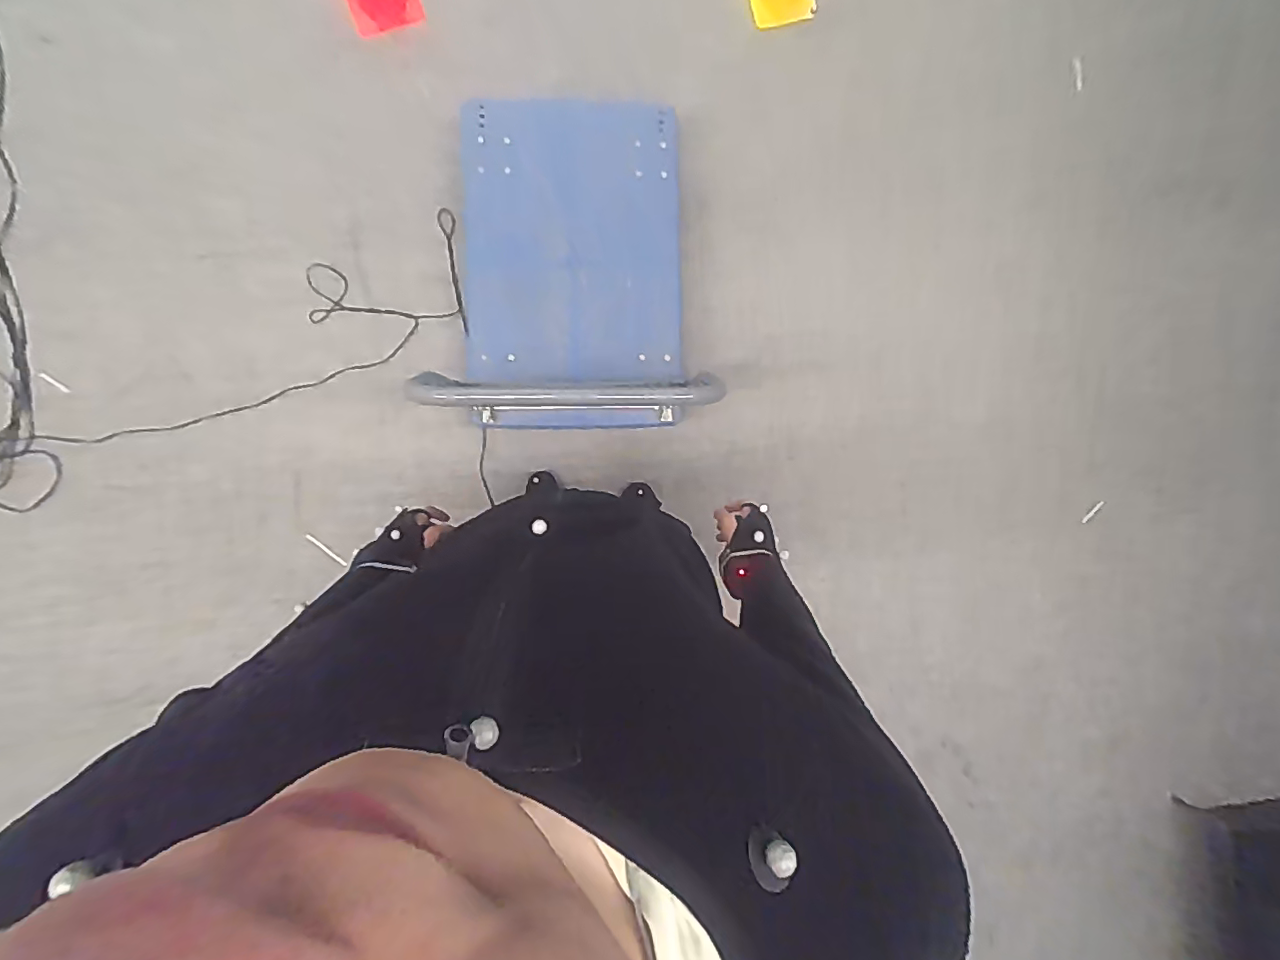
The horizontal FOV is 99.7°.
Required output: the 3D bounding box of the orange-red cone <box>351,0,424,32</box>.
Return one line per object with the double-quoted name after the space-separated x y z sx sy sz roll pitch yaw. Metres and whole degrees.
-0.734 -1.411 1.396 0.199 0.360 0.198 -19 91 -2 "orange-red cone"
